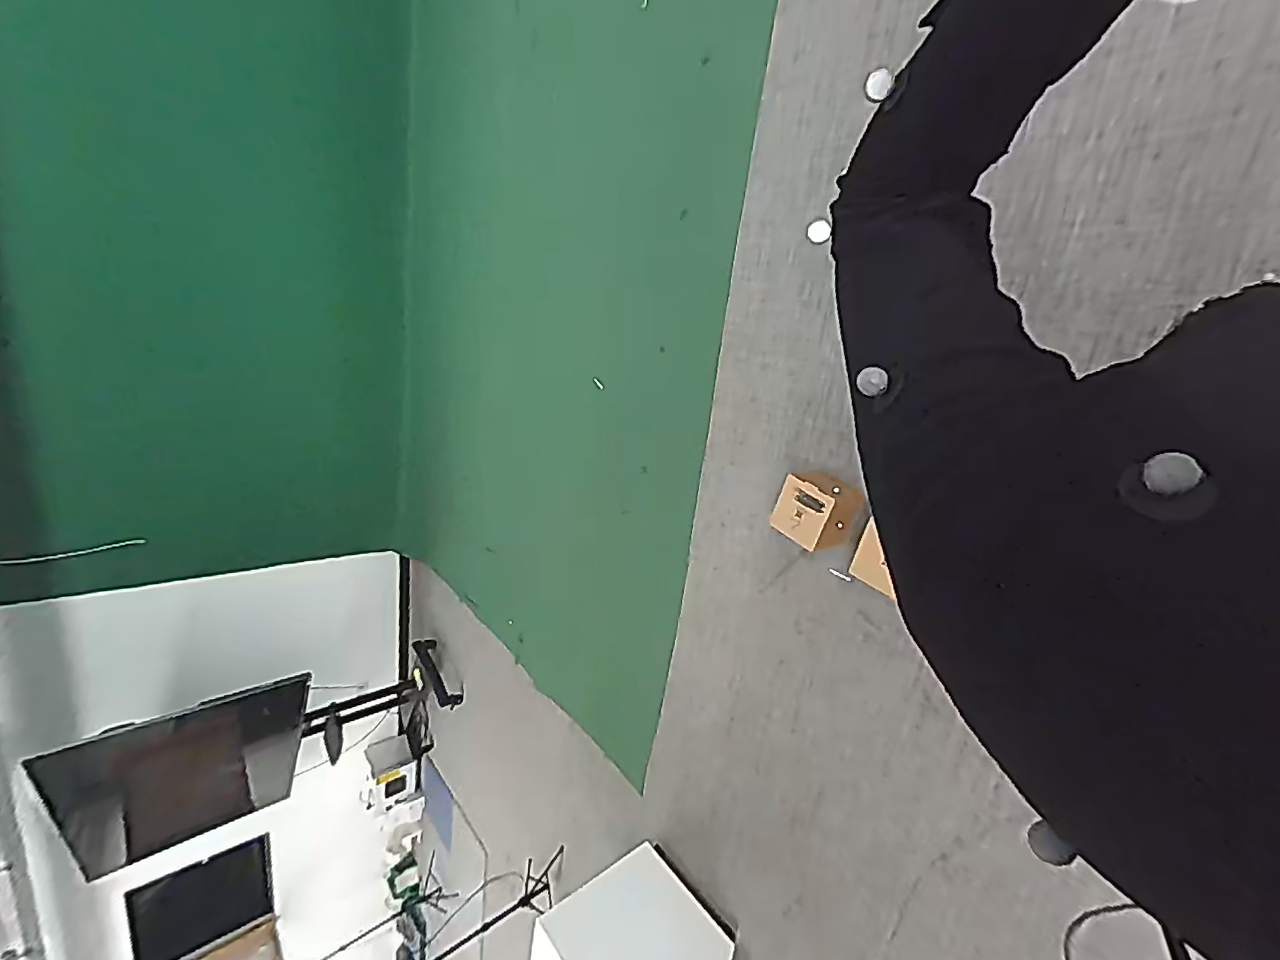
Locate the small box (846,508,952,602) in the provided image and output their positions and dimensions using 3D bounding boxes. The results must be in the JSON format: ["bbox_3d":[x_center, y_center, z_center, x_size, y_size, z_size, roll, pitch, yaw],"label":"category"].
[{"bbox_3d":[0.679,0.188,1.412,0.168,0.176,0.179,33,116,41],"label":"small box"}]
